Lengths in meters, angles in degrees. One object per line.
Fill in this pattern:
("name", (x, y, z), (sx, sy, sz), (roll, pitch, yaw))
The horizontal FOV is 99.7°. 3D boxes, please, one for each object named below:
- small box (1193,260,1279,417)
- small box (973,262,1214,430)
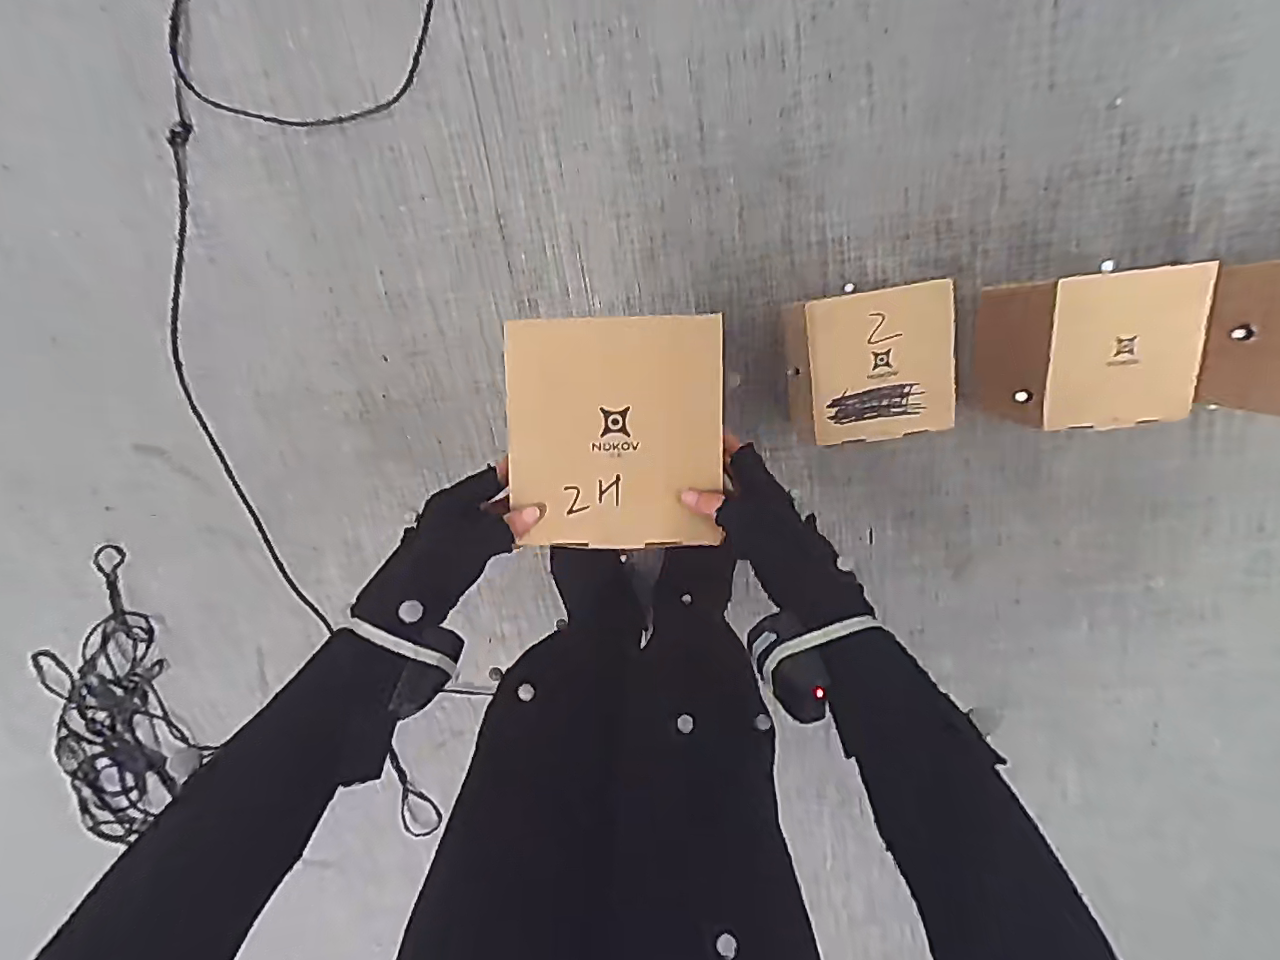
("small box", (0.823, -0.183, 0.667), (0.168, 0.176, 0.179), (-5, 105, 6))
("small box", (0.555, -0.170, 0.691), (0.168, 0.176, 0.179), (-5, 106, 5))
